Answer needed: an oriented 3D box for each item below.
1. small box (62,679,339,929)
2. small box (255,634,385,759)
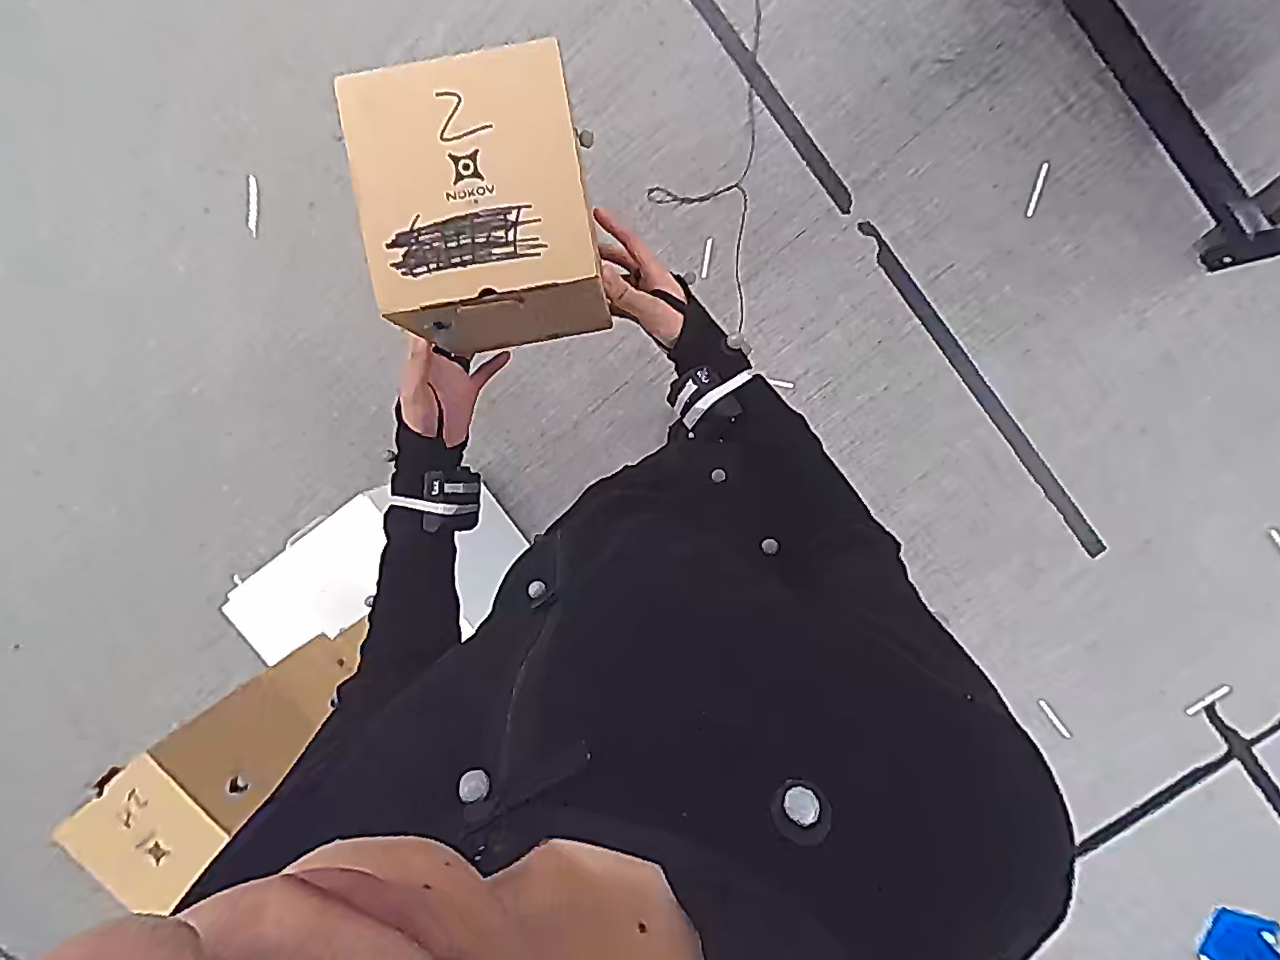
[{"bbox_3d":[-0.534,0.394,0.687,0.168,0.176,0.179,-40,94,7],"label":"small box"},{"bbox_3d":[-0.538,0.377,0.852,0.179,0.176,0.168,-42,94,8],"label":"small box"}]
